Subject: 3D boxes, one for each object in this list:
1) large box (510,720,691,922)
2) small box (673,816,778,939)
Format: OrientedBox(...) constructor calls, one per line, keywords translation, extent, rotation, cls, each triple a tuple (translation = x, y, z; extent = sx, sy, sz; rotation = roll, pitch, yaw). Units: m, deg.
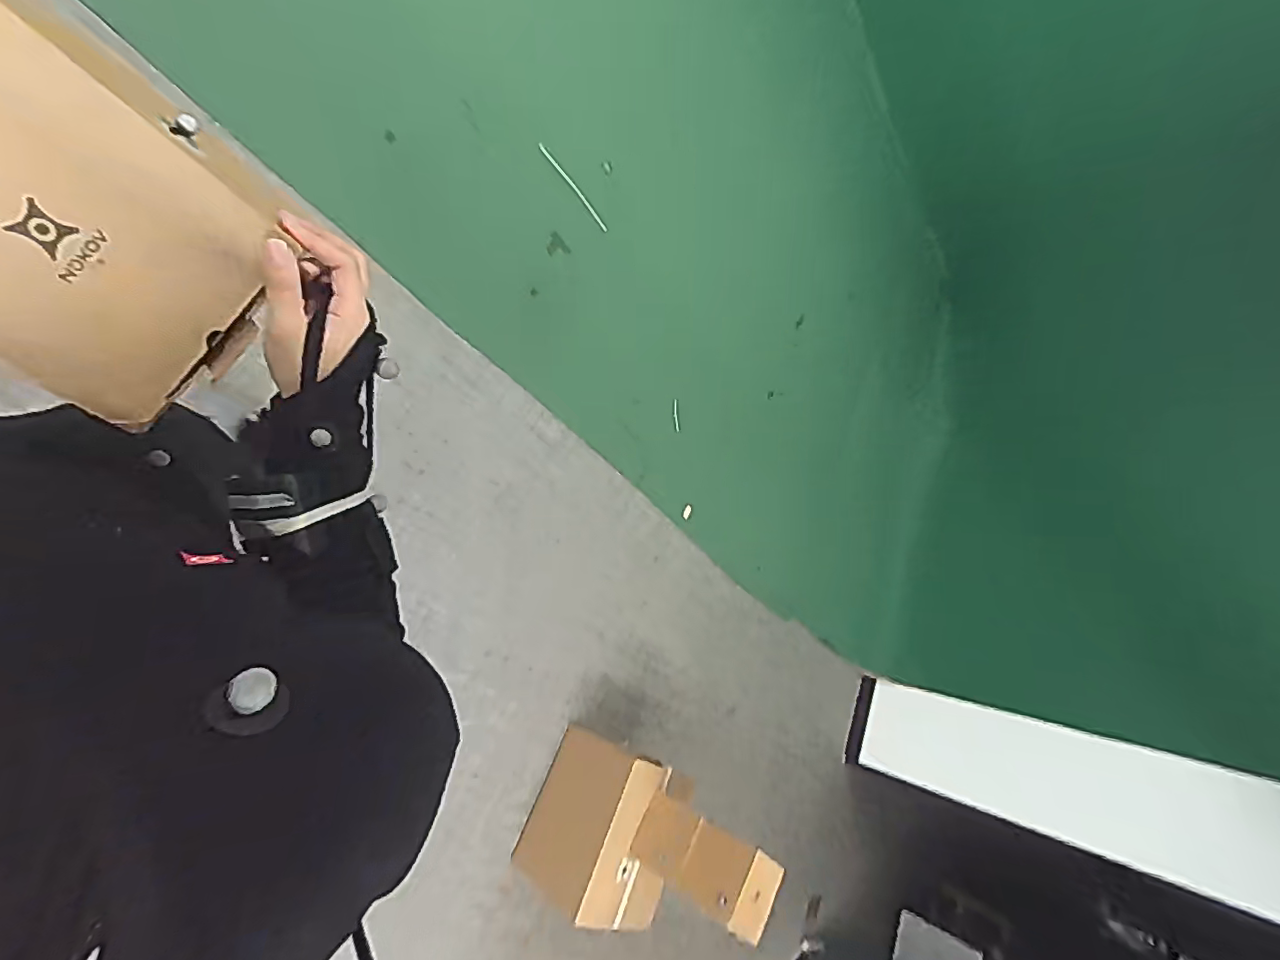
OrientedBox(translation=(-0.113, 0.997, 1.611), extent=(0.320, 0.320, 0.408), rotation=(40, 65, -35), cls="large box")
OrientedBox(translation=(0.213, 0.989, 1.359), extent=(0.168, 0.176, 0.179), rotation=(53, 58, -31), cls="small box")
